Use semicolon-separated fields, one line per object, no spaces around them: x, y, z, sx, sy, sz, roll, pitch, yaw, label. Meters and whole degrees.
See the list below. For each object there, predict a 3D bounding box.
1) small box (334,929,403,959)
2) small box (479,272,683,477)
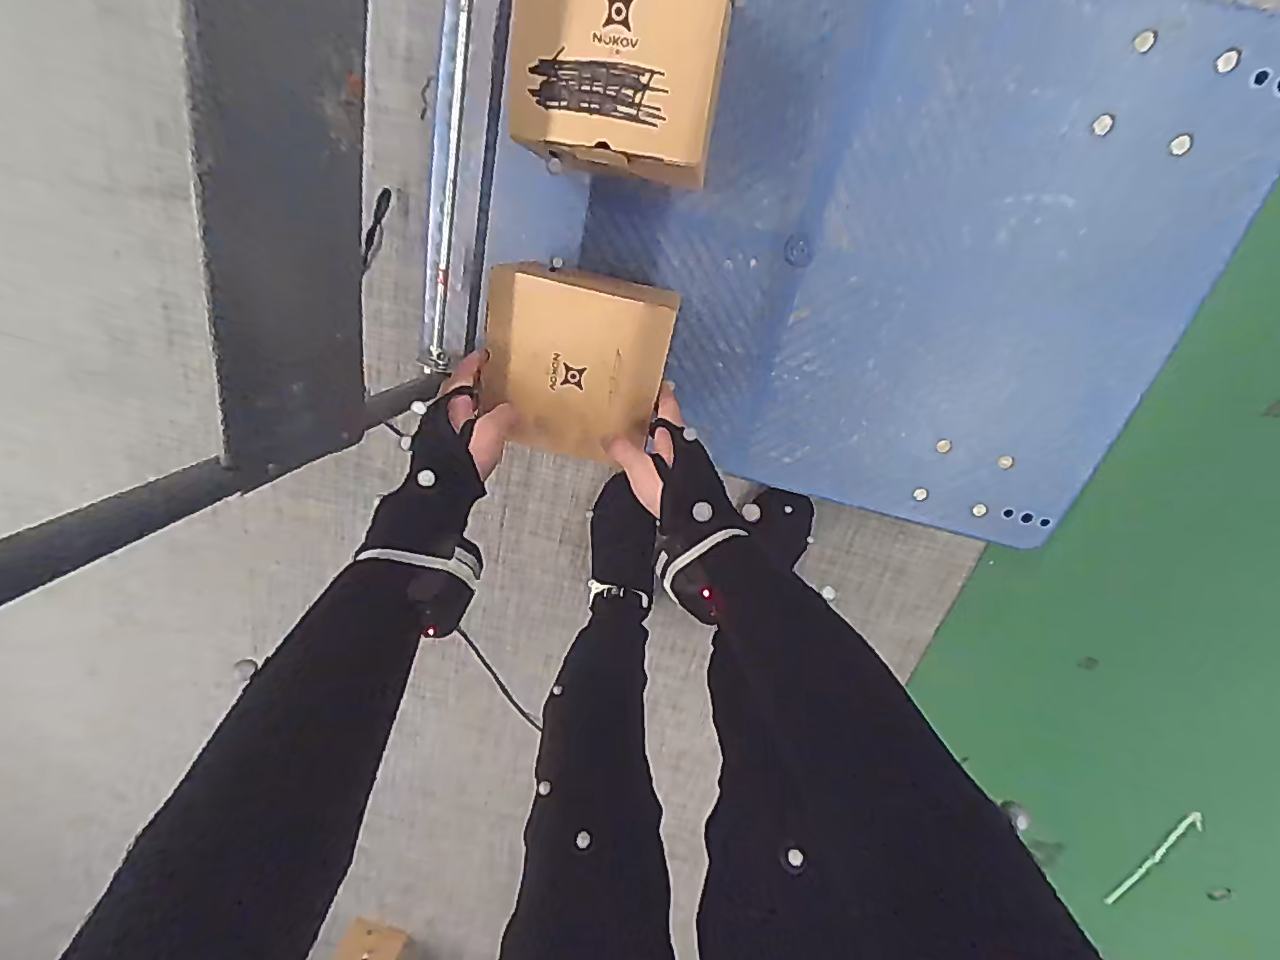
-0.782;1.404;1.505;0.168;0.176;0.179;17;112;0;small box
-0.056;-0.126;0.597;0.179;0.176;0.168;13;114;-1;small box
